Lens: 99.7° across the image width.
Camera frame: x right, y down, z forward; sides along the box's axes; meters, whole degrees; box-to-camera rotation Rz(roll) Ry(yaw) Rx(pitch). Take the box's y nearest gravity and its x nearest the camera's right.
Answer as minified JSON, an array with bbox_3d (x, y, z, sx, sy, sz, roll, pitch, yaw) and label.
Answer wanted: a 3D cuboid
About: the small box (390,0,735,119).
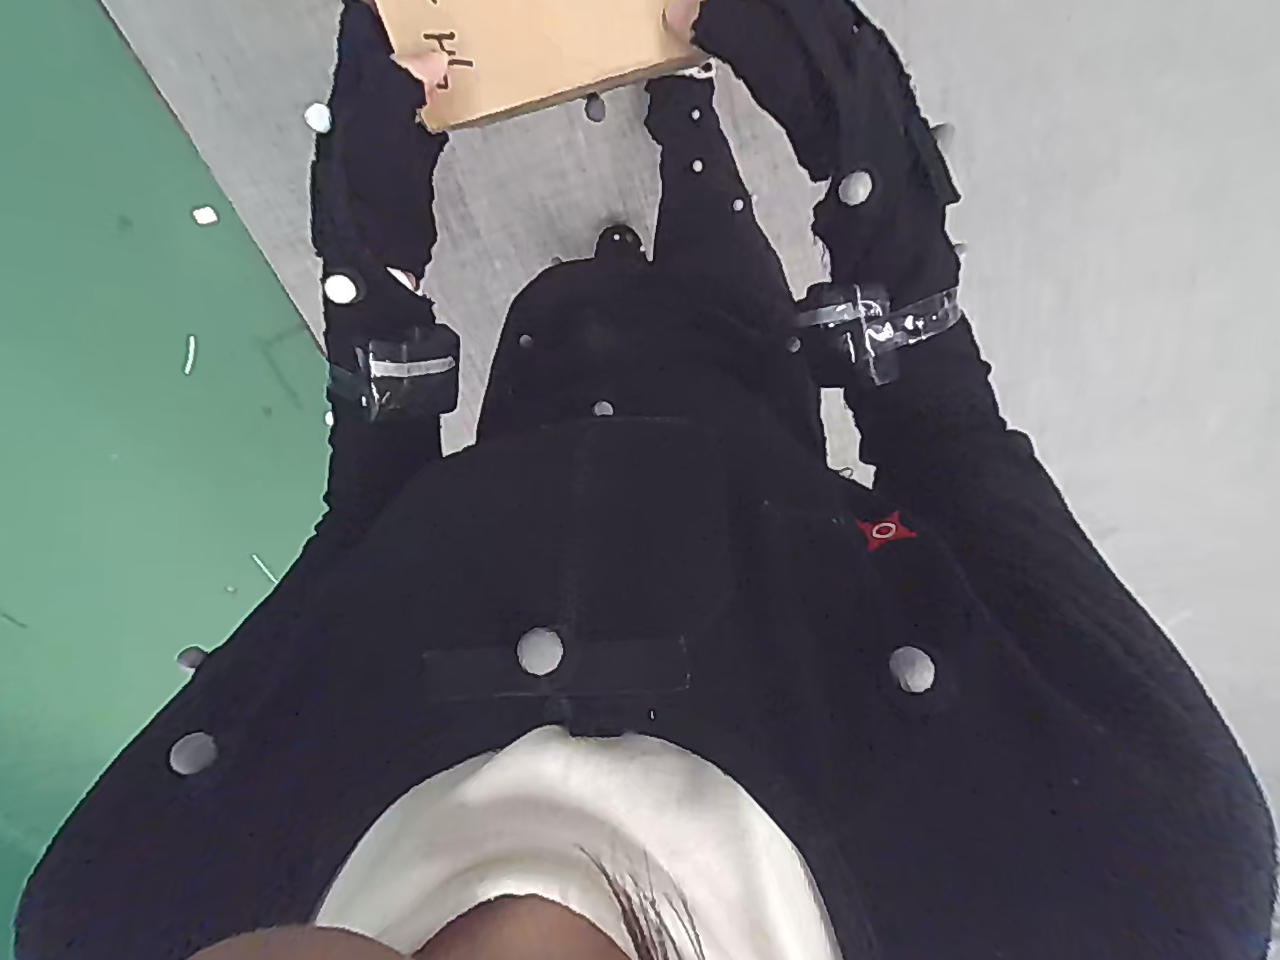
[{"bbox_3d":[-0.052,-0.331,0.318,0.179,0.176,0.168,-11,123,7],"label":"small box"}]
